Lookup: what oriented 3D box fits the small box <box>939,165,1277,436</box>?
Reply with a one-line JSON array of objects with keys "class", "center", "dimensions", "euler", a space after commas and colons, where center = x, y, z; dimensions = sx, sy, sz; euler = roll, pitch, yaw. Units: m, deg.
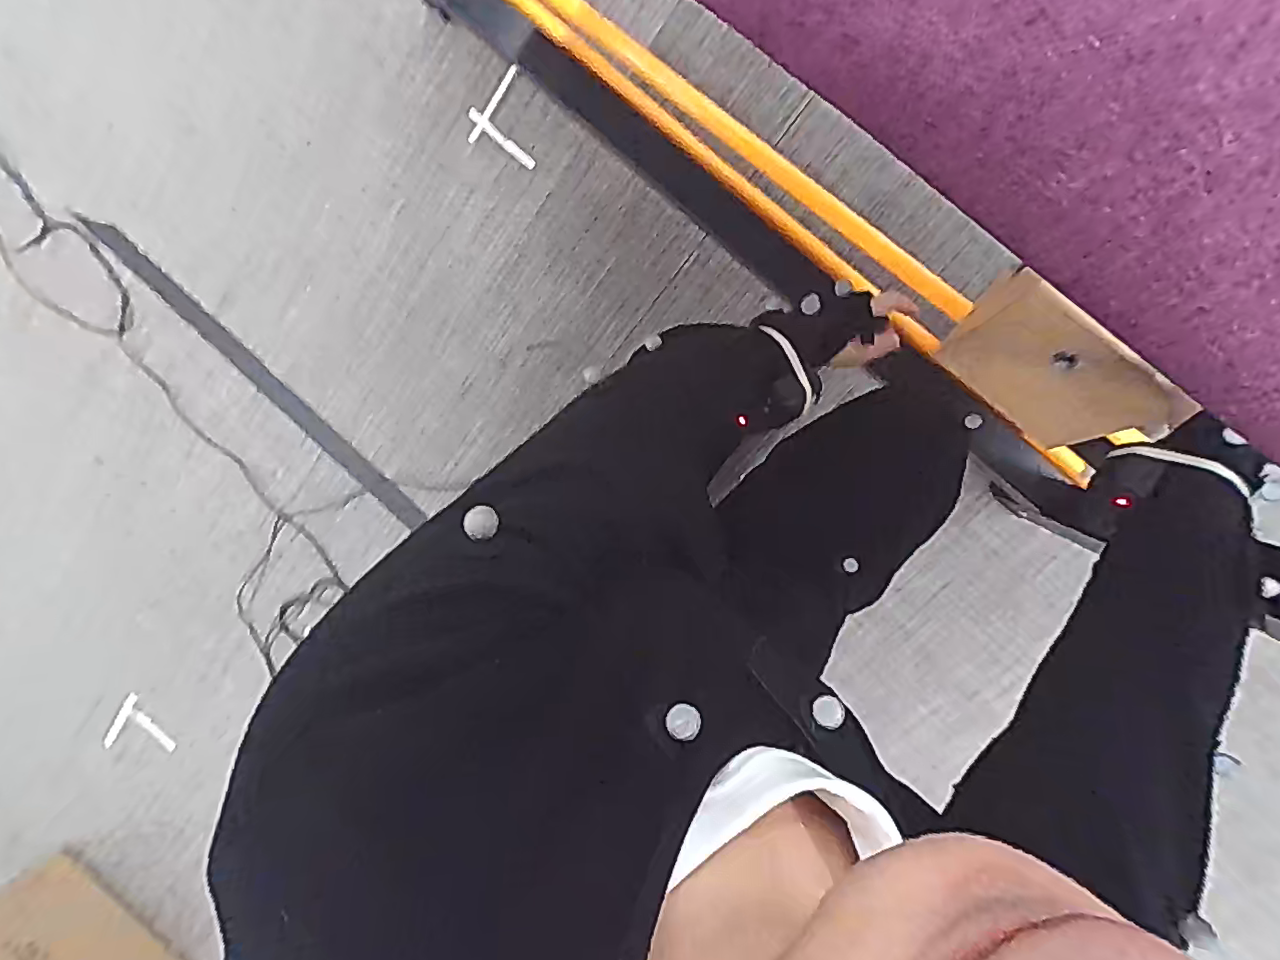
[{"class": "small box", "center": [0.465, -0.170, 0.569], "dimensions": [0.179, 0.176, 0.168], "euler": [42, 81, 4]}]
